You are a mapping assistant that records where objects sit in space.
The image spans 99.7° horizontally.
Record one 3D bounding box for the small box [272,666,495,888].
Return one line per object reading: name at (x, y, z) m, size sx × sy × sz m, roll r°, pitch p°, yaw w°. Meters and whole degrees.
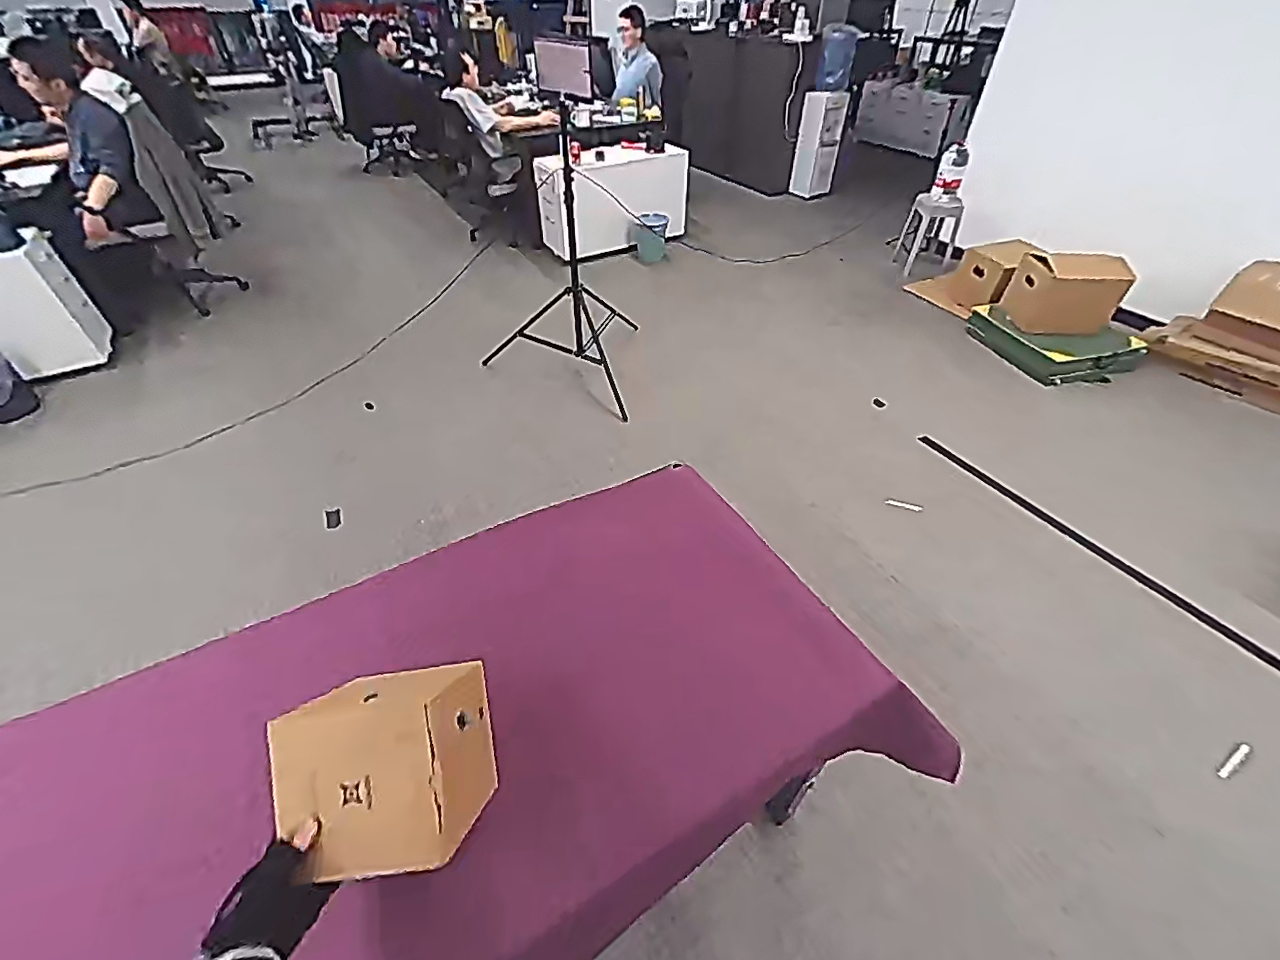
small box at (-0.283, 0.331, 0.637) m, size 0.179 × 0.176 × 0.168 m, roll -10°, pitch 85°, yaw 4°
